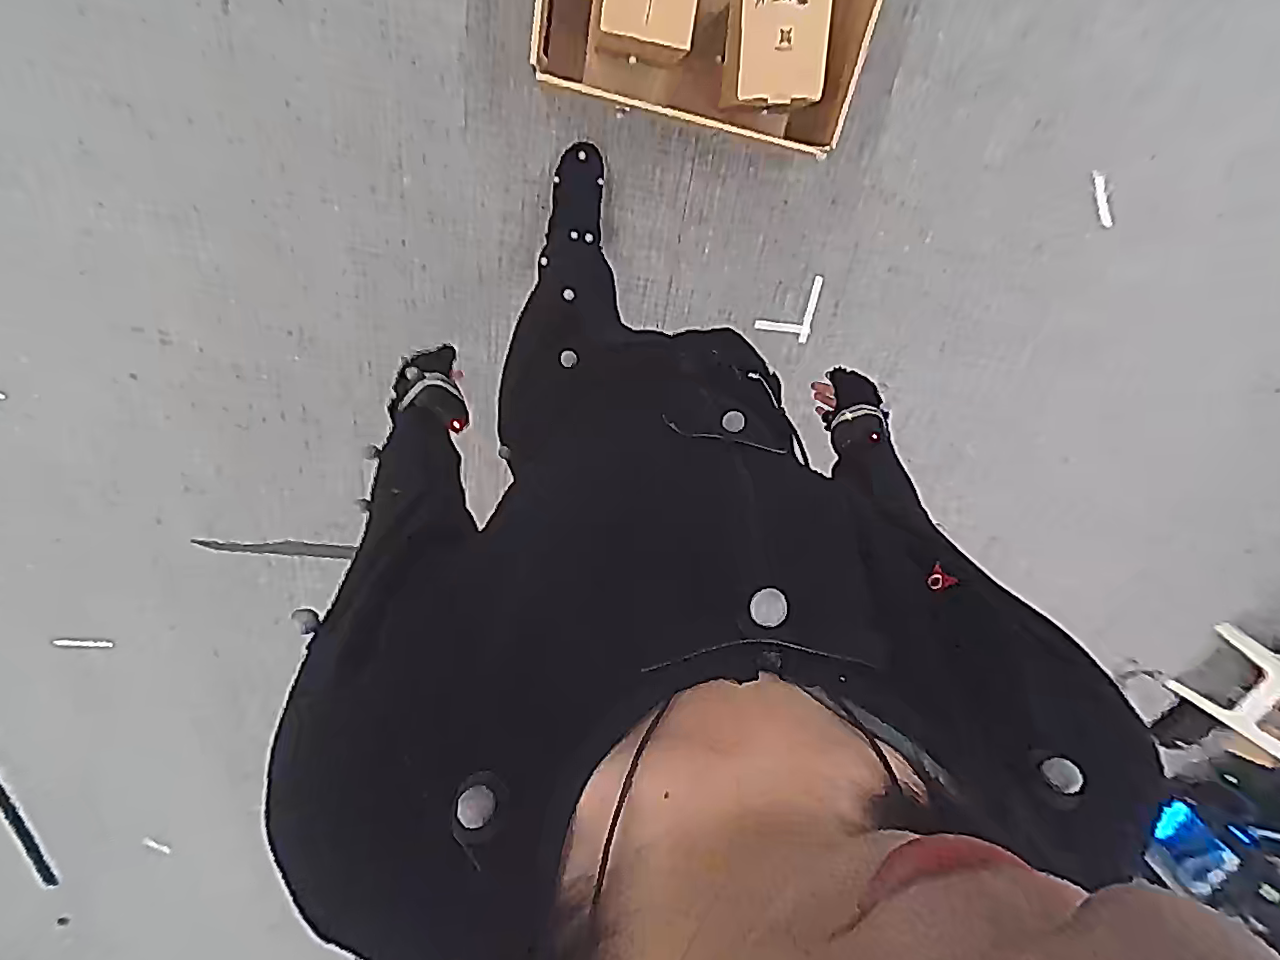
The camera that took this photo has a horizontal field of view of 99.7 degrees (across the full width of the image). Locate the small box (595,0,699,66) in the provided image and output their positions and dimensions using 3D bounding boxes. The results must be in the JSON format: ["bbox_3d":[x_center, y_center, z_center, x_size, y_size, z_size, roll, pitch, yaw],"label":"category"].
[{"bbox_3d":[0.013,-0.890,0.983,0.168,0.176,0.179,4,118,-12],"label":"small box"}]
